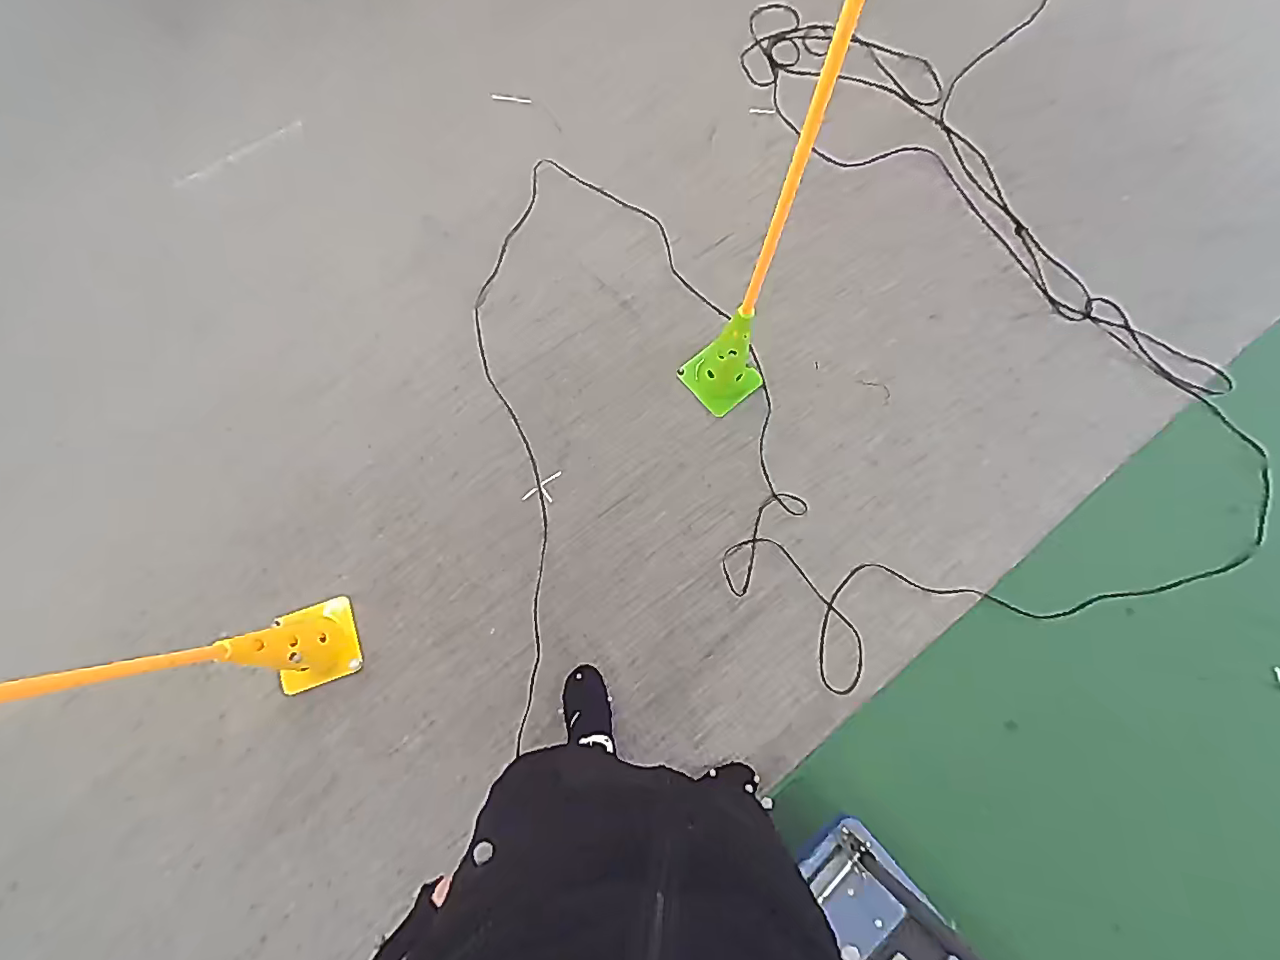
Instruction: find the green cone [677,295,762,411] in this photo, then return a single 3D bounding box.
[{"bbox_3d":[0.248,-0.374,1.468,0.202,0.368,0.200,-40,80,-13],"label":"green cone"}]
